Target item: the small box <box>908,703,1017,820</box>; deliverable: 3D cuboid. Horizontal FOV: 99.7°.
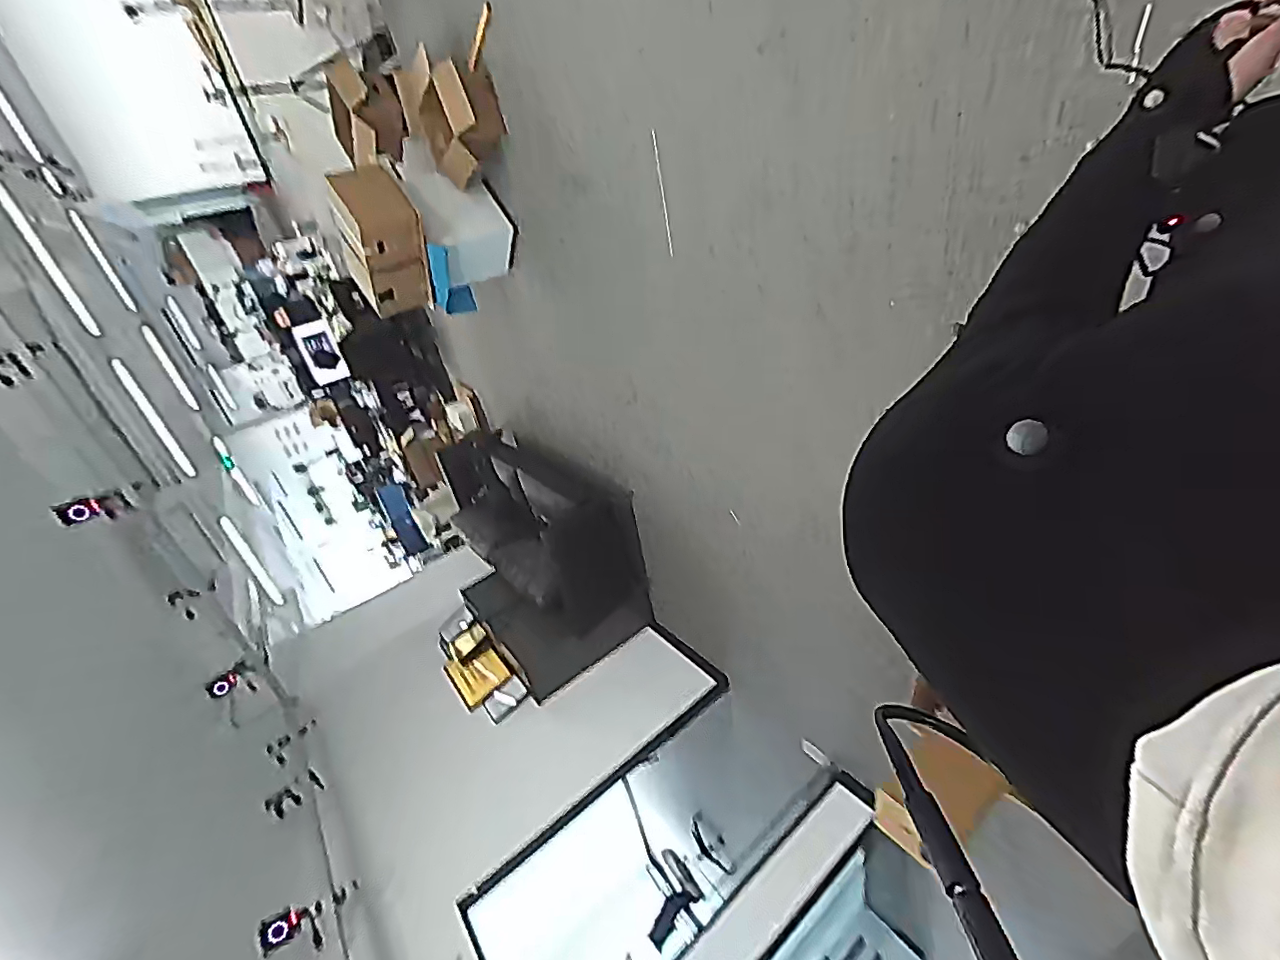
[{"bbox_3d":[0.818,0.705,1.378,0.179,0.176,0.168,27,137,45],"label":"small box"}]
